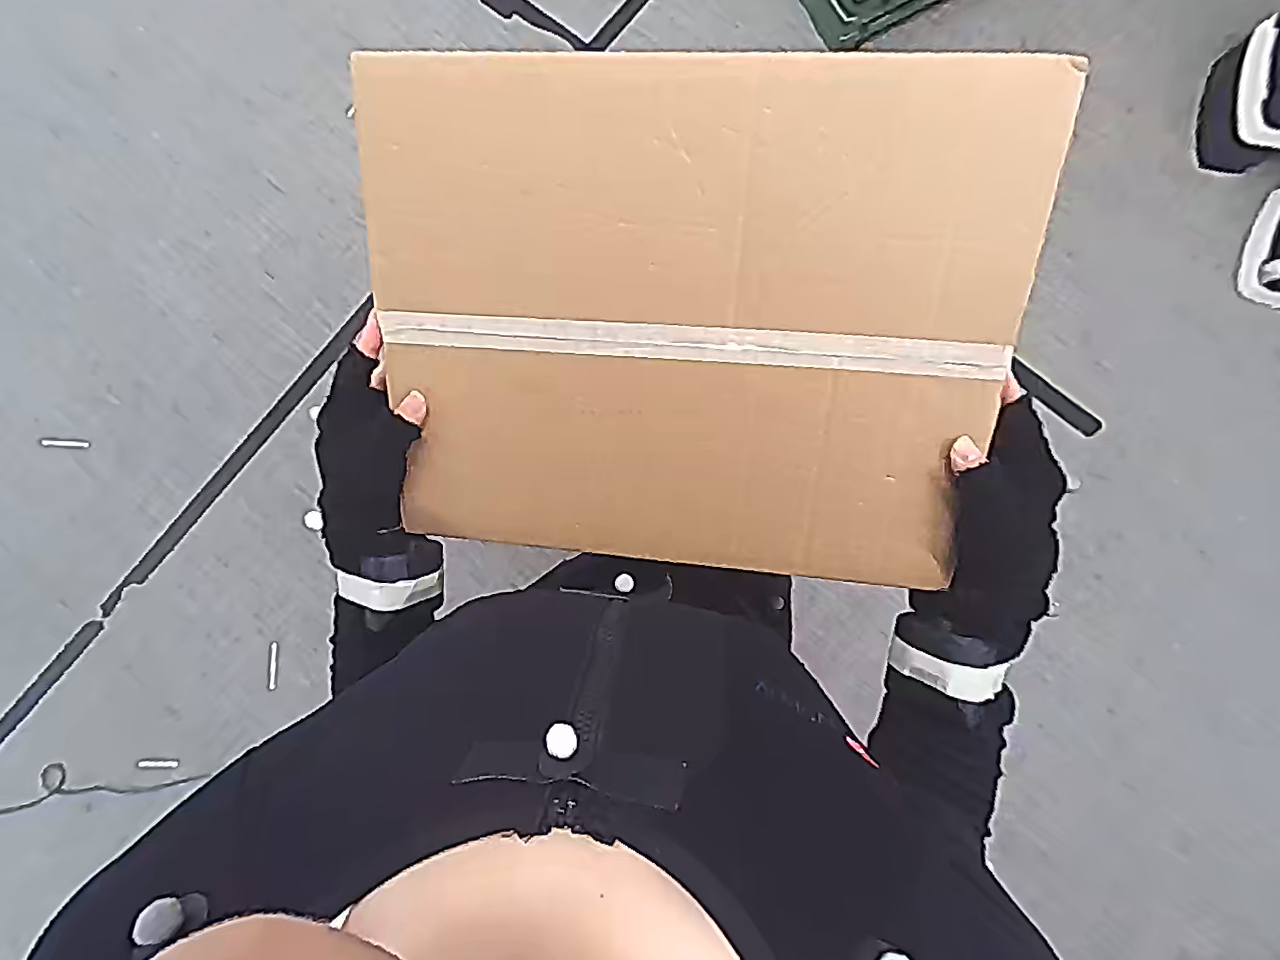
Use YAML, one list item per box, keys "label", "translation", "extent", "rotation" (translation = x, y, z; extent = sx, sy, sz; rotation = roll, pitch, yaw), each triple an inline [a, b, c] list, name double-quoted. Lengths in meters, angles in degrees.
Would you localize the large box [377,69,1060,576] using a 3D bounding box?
- label: "large box"
  translation: [0.043, -0.136, 0.500]
  extent: [0.408, 0.320, 0.320]
  rotation: [5, 110, 6]
